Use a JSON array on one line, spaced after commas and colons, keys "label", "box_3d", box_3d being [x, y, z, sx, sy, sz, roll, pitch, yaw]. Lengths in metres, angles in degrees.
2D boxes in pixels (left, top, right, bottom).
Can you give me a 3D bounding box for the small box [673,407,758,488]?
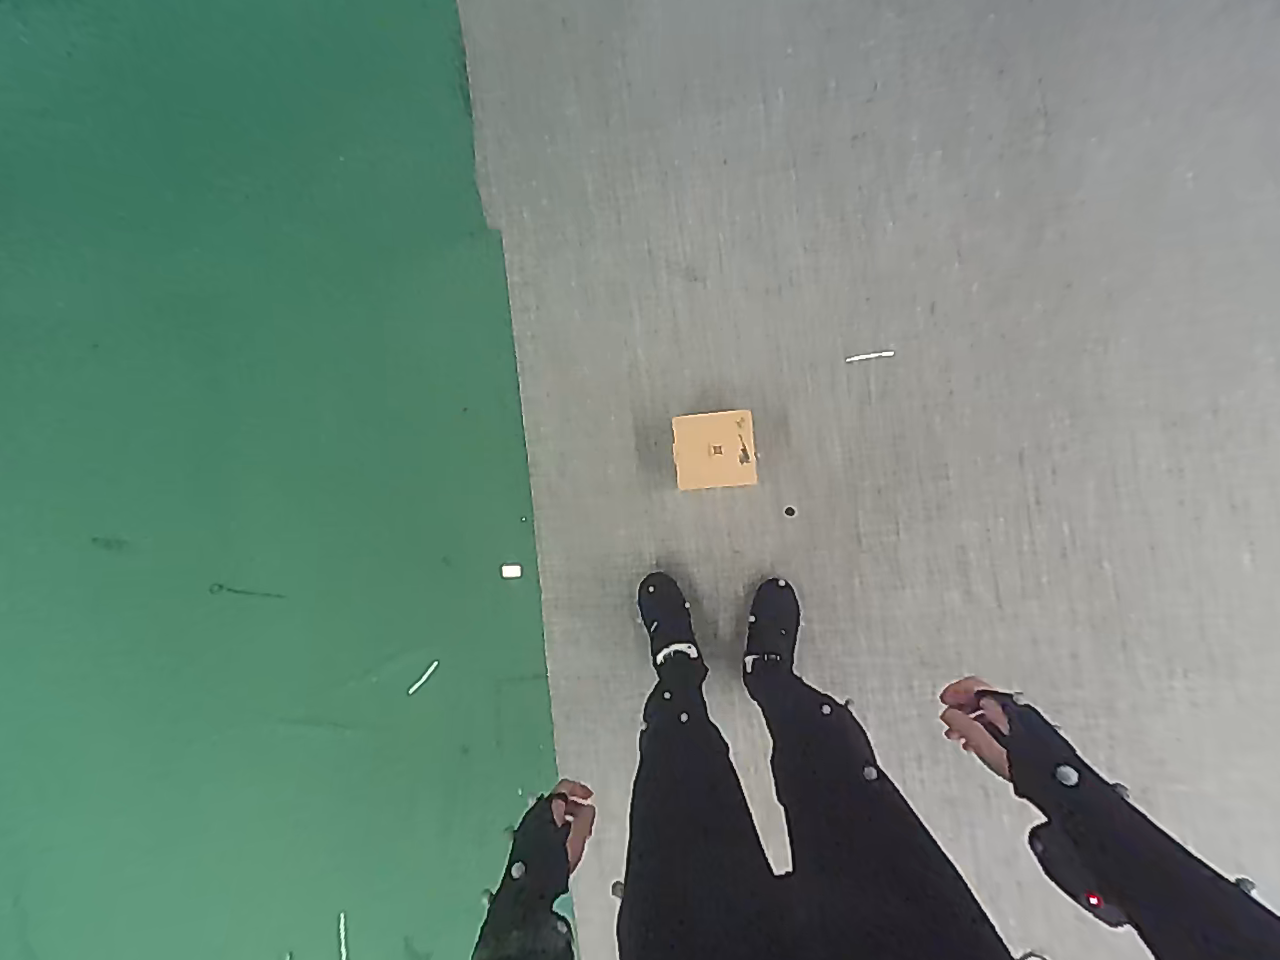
[{"label": "small box", "box_3d": [0.176, -0.069, 1.247, 0.179, 0.176, 0.168, -4, 88, 9]}]
